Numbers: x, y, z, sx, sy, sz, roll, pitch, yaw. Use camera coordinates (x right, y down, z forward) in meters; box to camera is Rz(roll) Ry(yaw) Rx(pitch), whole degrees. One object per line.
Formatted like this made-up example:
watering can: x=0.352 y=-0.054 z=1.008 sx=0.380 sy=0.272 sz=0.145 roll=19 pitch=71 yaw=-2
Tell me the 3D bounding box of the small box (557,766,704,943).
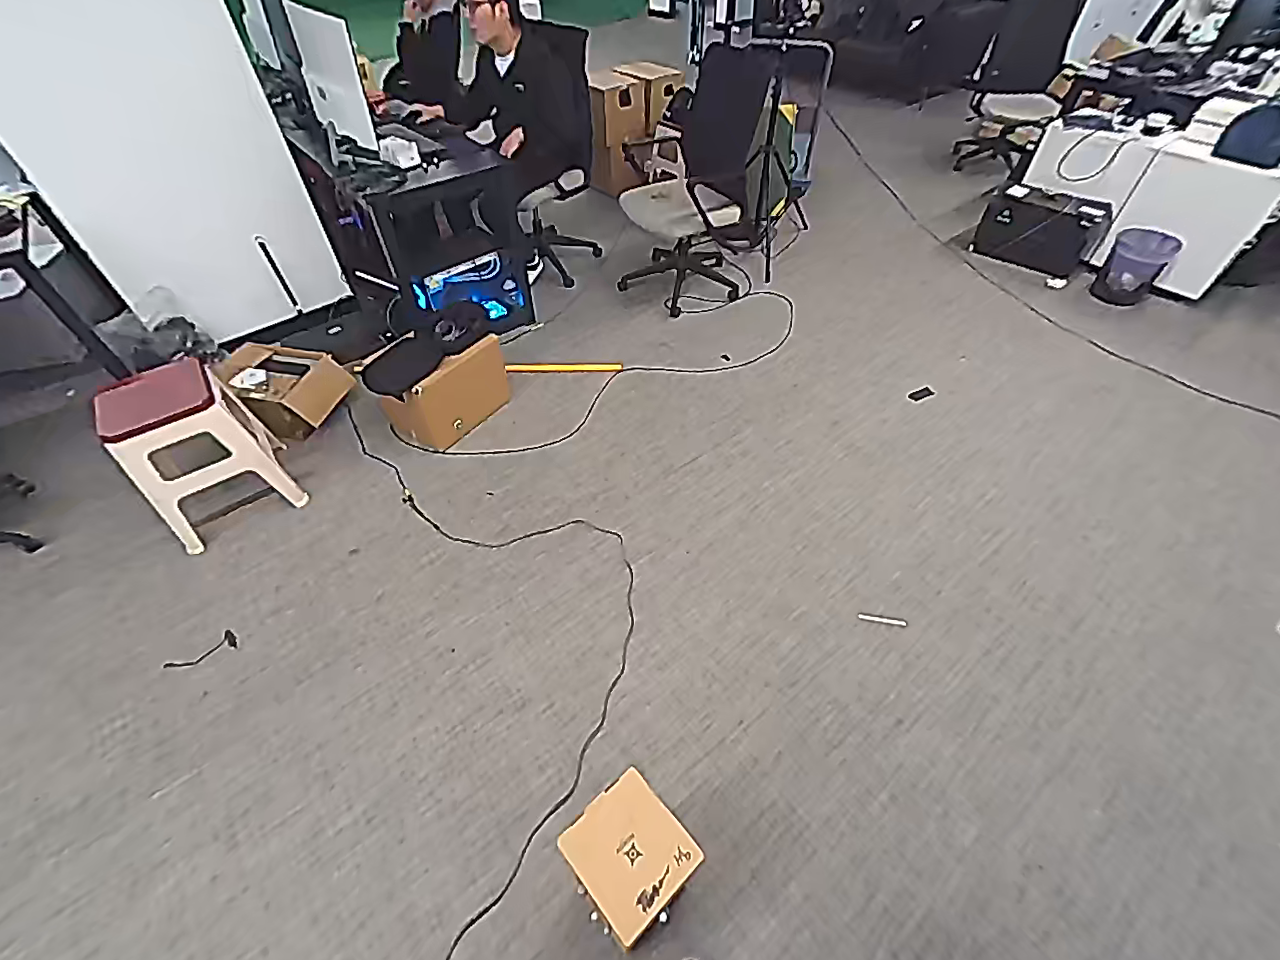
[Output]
small box: x=-0.016 y=0.627 z=0.902 sx=0.168 sy=0.176 sz=0.179 roll=-34 pitch=57 yaw=-26
